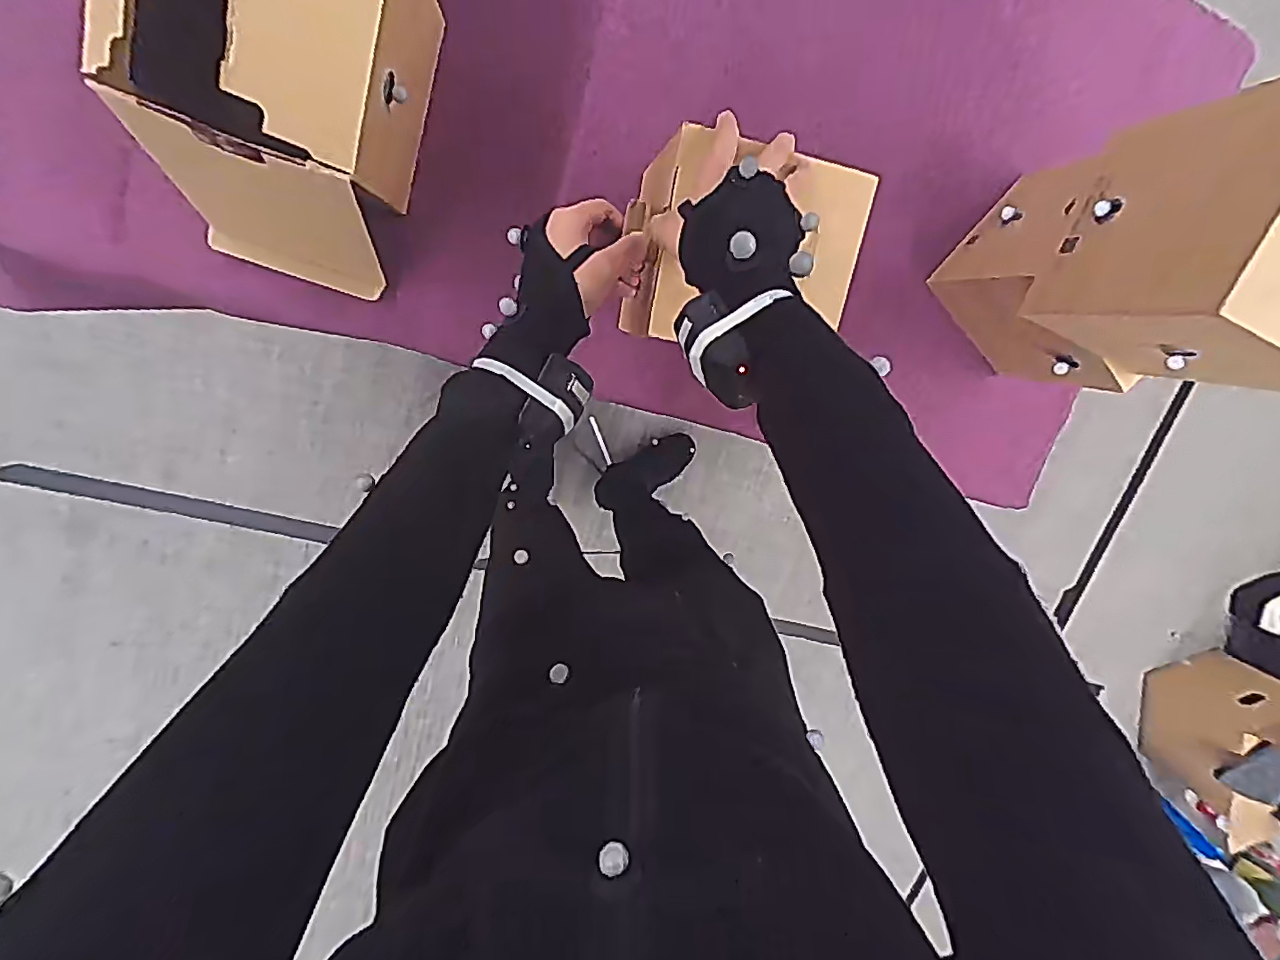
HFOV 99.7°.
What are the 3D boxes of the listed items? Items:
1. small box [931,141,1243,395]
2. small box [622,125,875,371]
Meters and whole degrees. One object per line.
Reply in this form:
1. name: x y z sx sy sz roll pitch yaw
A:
1. small box: 0.474 -0.222 0.597 0.179 0.176 0.168 40 97 -19
2. small box: 0.086 -0.212 0.534 0.179 0.176 0.168 8 107 -13
